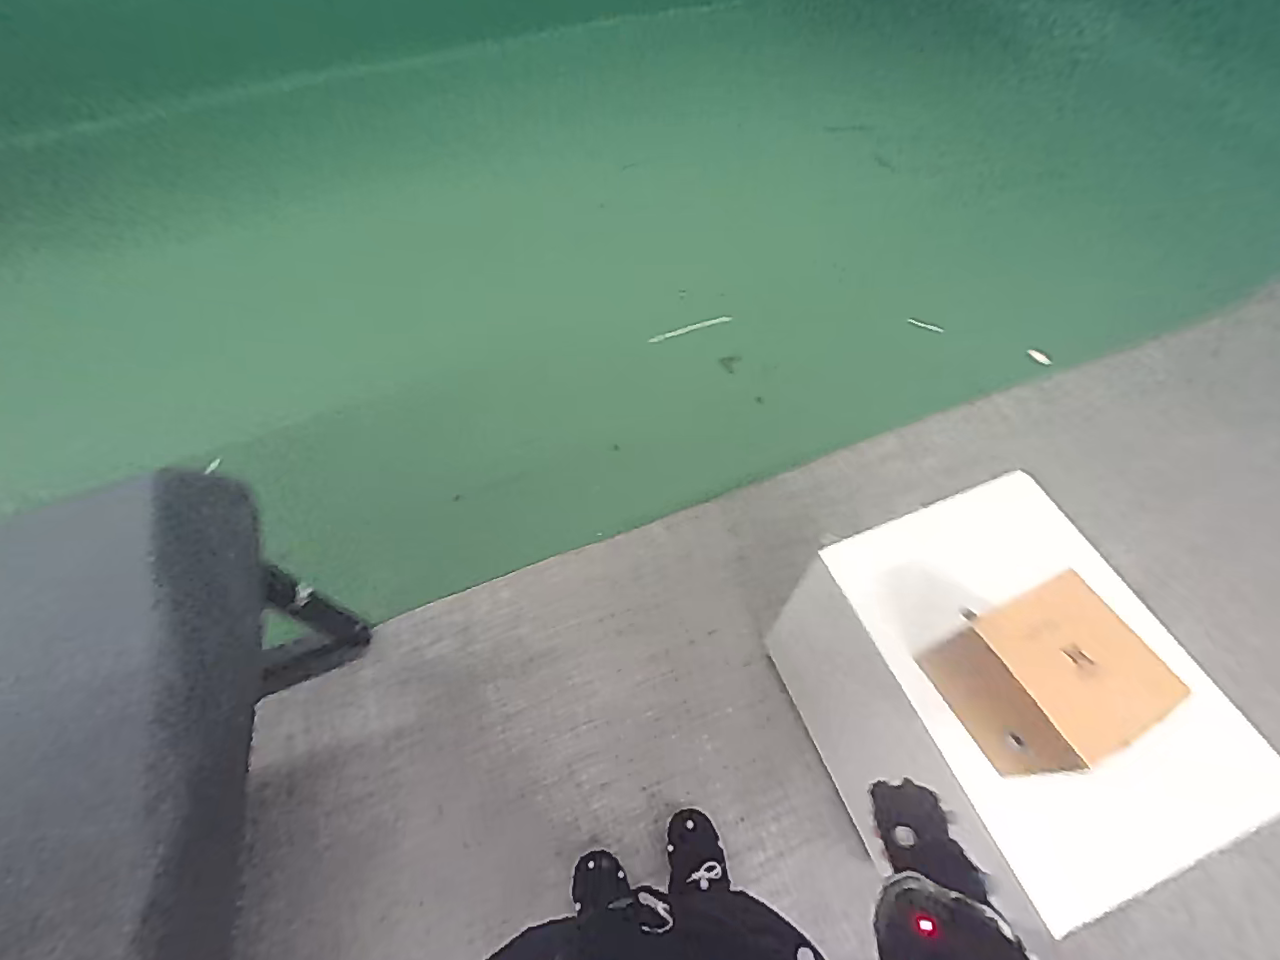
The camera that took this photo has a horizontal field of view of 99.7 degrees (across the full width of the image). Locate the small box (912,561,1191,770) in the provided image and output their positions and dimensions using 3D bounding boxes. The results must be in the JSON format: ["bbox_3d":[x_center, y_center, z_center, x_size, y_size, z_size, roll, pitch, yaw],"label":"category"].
[{"bbox_3d":[0.485,0.235,0.671,0.168,0.176,0.179,-24,60,-13],"label":"small box"}]
